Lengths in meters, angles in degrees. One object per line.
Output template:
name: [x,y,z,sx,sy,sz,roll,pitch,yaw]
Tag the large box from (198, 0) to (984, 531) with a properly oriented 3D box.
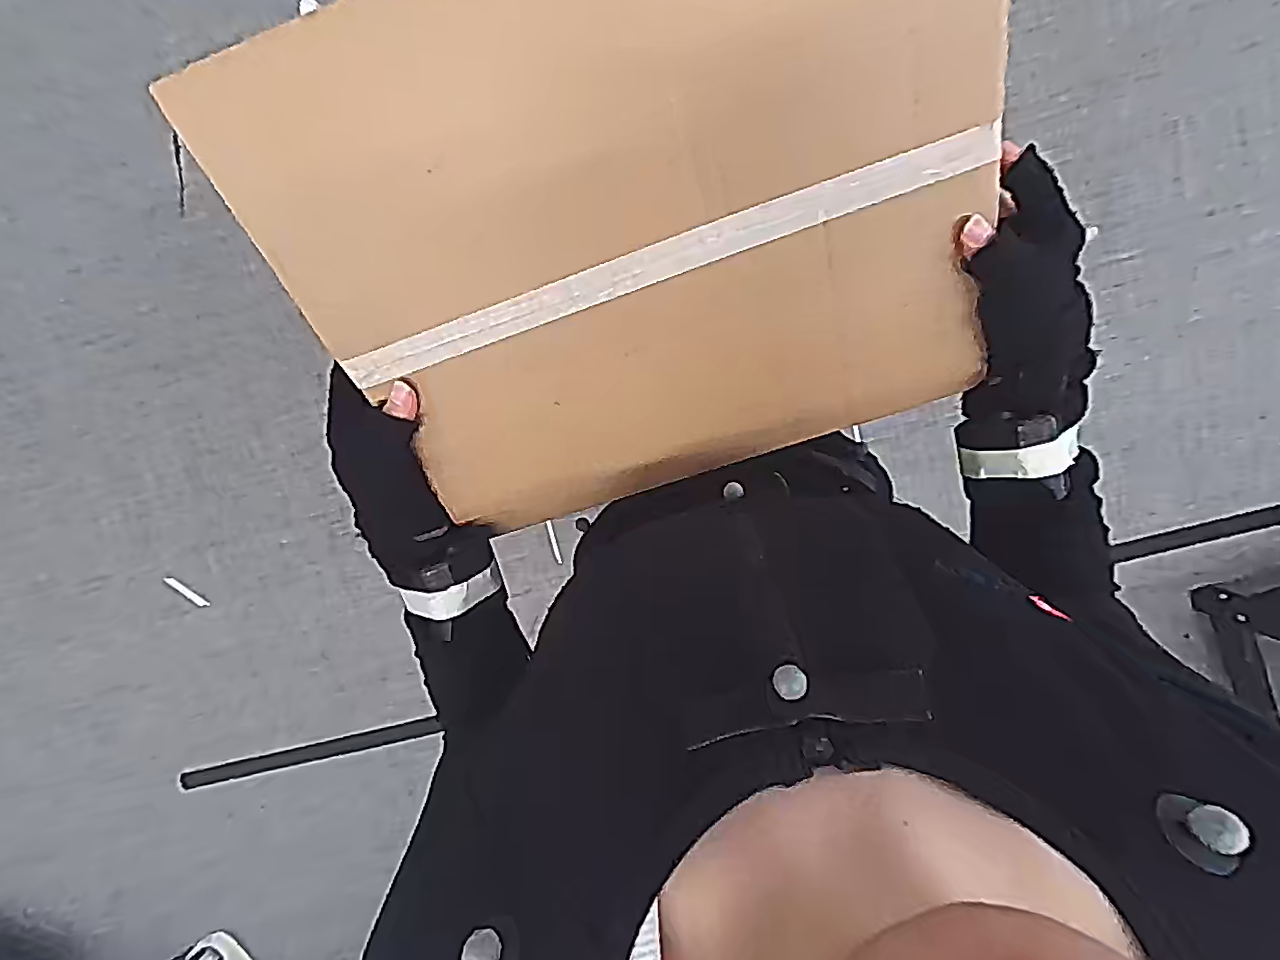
large box: [-0.009,-0.217,0.455,0.408,0.320,0.320,-18,126,6]
